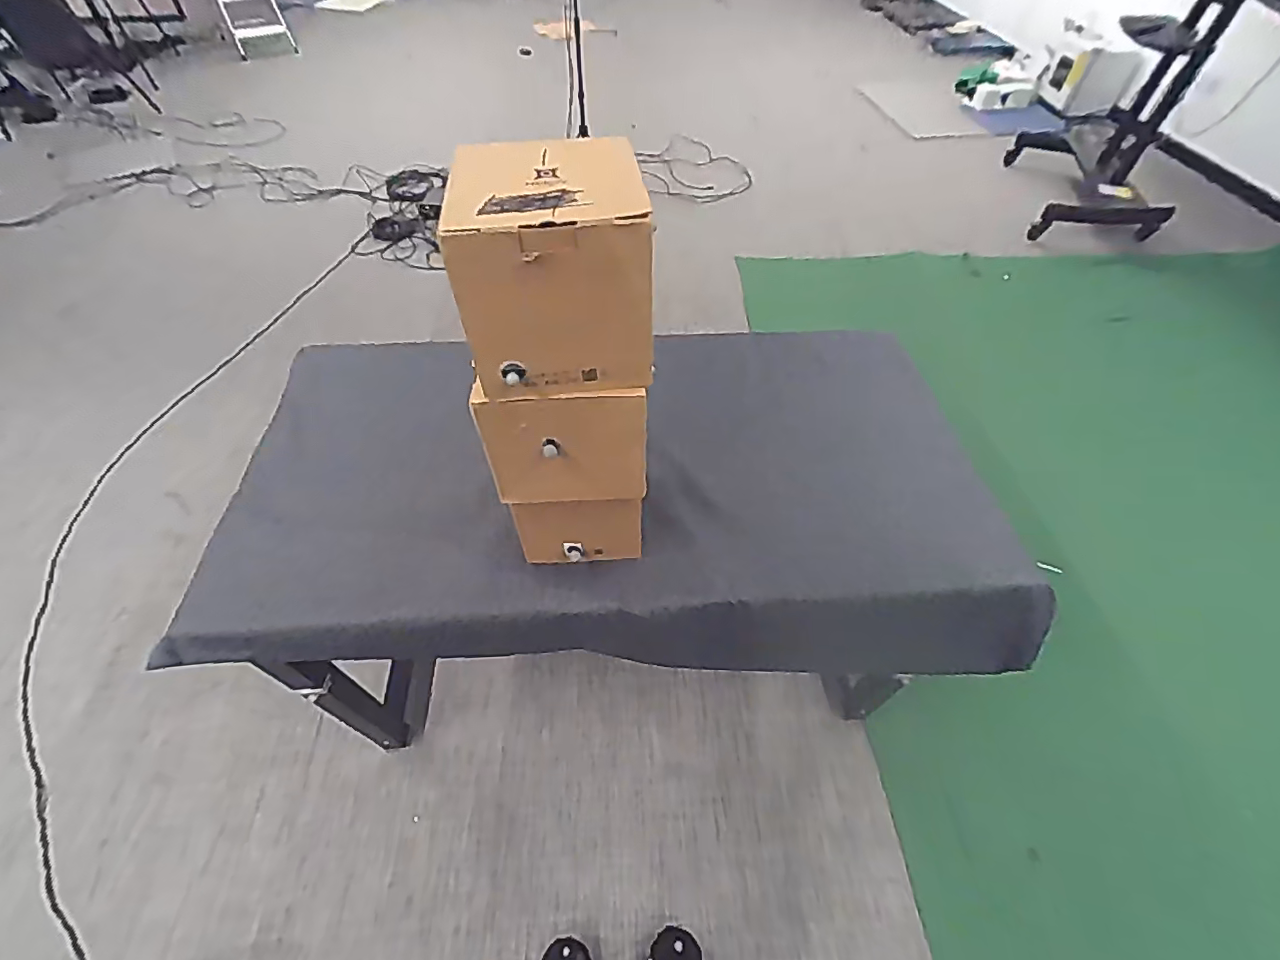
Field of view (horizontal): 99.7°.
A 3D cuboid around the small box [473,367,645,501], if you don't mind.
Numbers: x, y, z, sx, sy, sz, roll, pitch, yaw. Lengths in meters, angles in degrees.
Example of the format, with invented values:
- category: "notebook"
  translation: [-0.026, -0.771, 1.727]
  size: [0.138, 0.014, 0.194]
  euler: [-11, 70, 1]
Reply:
- category: "small box"
  translation: [-0.087, -0.088, 0.653]
  size: [0.179, 0.176, 0.168]
  euler: [-4, 48, -4]

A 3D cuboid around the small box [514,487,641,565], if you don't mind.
- category: "small box"
  translation: [-0.087, 0.003, 0.786]
  size: [0.168, 0.176, 0.179]
  euler: [-5, 51, -3]

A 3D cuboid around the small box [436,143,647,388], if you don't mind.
- category: "small box"
  translation: [-0.084, -0.204, 0.531]
  size: [0.168, 0.176, 0.179]
  euler: [-6, 49, -4]
